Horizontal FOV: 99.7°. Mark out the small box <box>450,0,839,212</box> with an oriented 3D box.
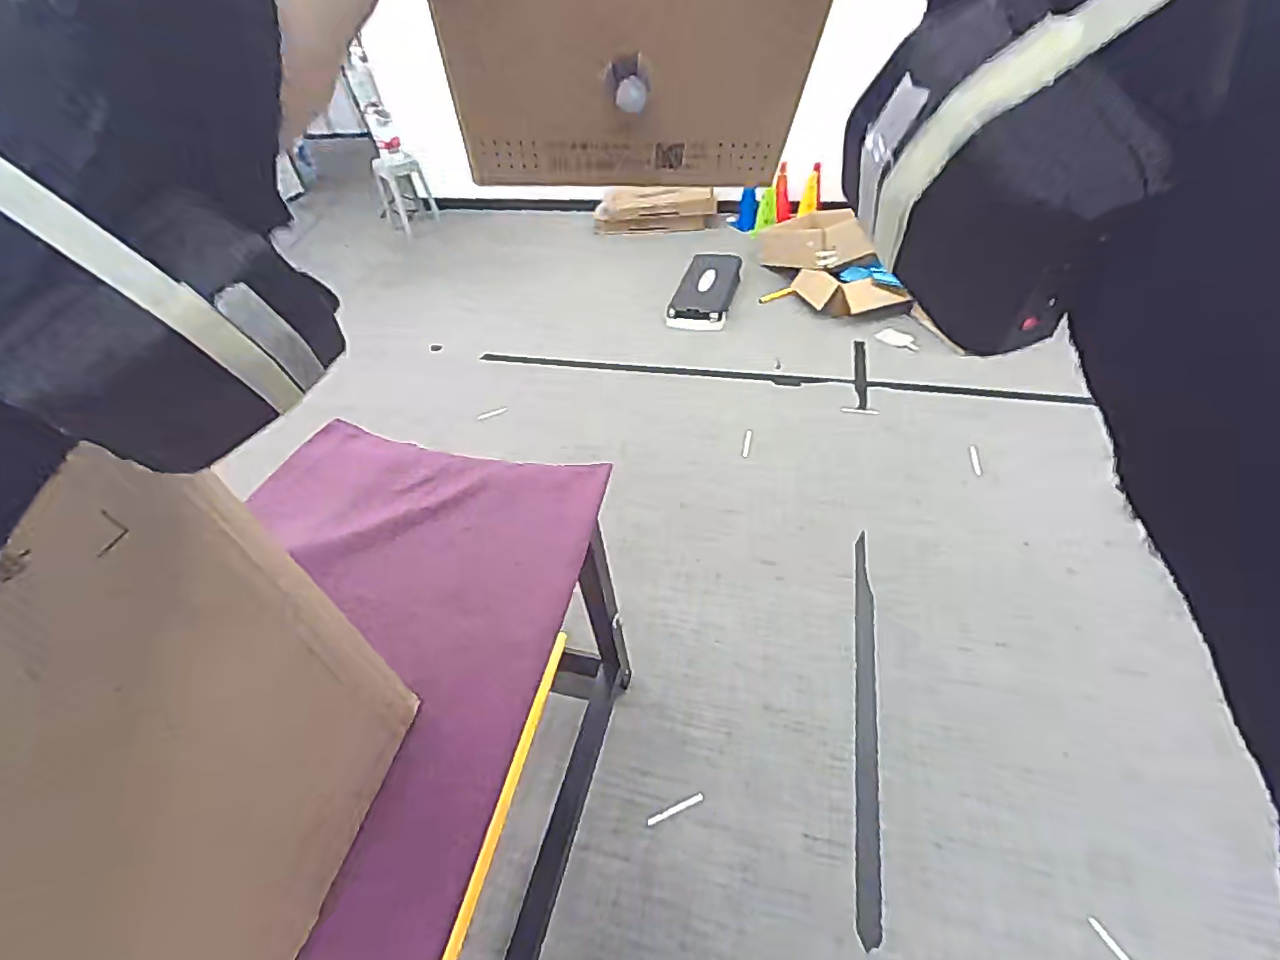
[{"bbox_3d":[-0.004,-0.265,0.266,0.168,0.176,0.179,-2,68,-3],"label":"small box"}]
